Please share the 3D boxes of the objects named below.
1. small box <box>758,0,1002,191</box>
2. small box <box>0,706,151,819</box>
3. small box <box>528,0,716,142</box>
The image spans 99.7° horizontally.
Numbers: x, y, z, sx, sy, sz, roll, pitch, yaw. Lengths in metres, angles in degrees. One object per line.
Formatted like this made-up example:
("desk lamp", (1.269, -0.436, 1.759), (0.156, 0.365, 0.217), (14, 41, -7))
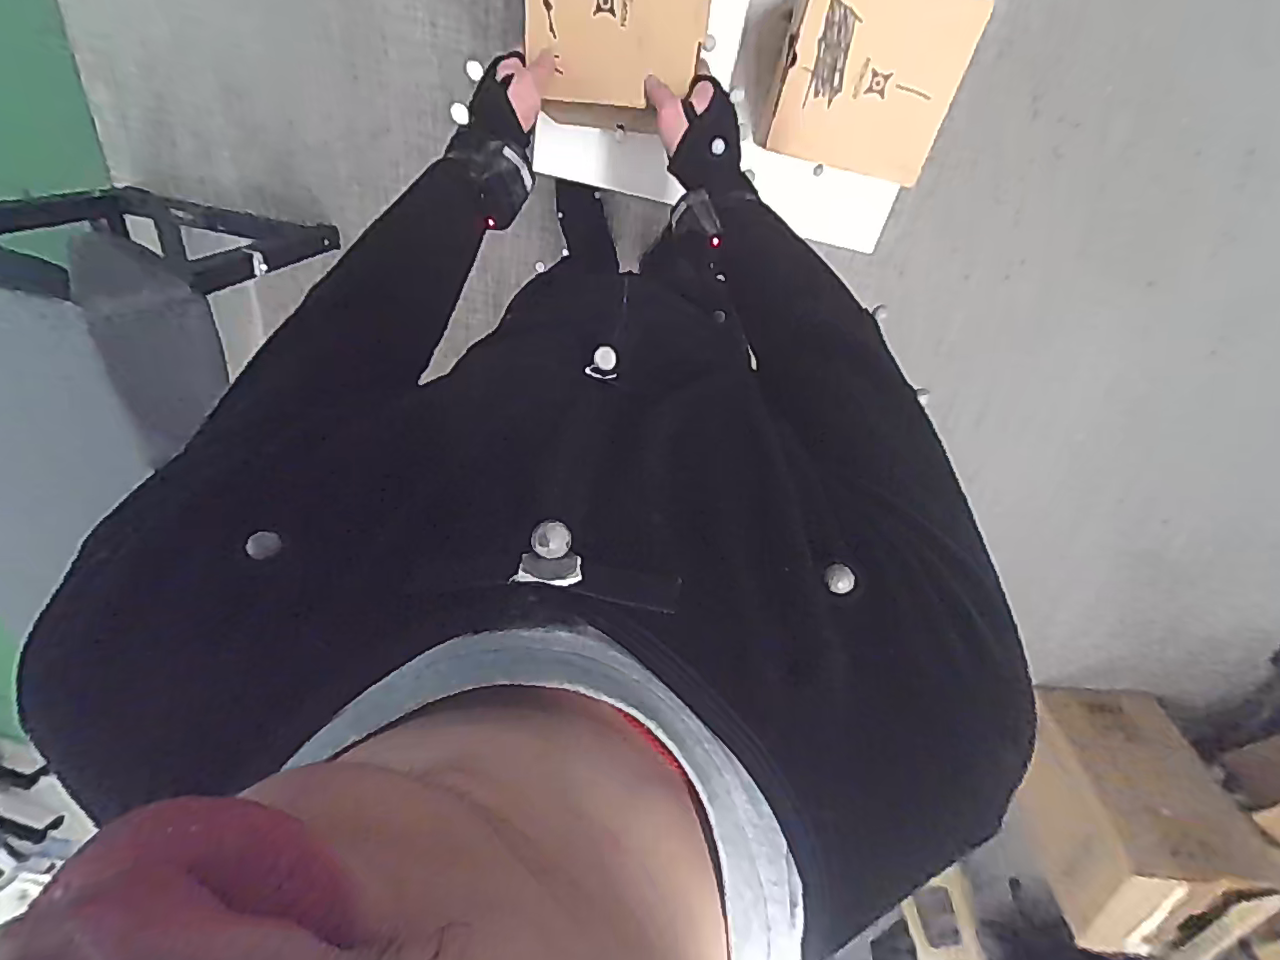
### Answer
("small box", (0.247, -0.445, 0.615), (0.179, 0.176, 0.168), (12, 123, -4))
("small box", (-1.340, 0.670, 1.293), (0.168, 0.176, 0.179), (11, 123, -1))
("small box", (-0.017, -0.475, 0.578), (0.179, 0.176, 0.168), (5, 114, -1))
